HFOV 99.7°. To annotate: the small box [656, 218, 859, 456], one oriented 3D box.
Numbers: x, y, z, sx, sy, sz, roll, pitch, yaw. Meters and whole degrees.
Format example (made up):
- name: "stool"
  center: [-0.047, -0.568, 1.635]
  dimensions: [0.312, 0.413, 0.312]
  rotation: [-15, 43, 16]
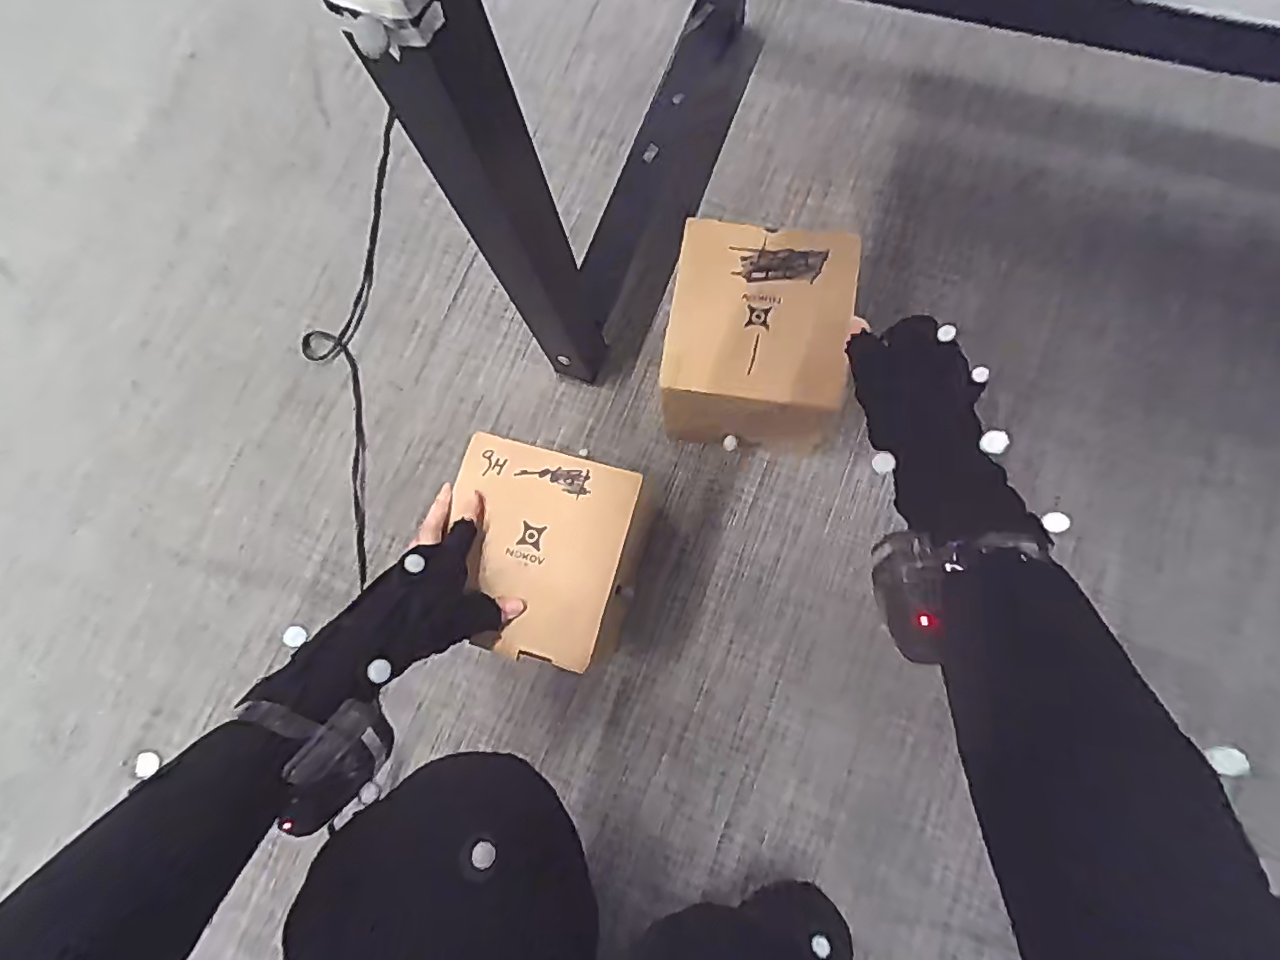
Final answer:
- name: "small box"
  center: [0.115, -0.140, 0.576]
  dimensions: [0.168, 0.176, 0.179]
  rotation: [10, 80, 7]
